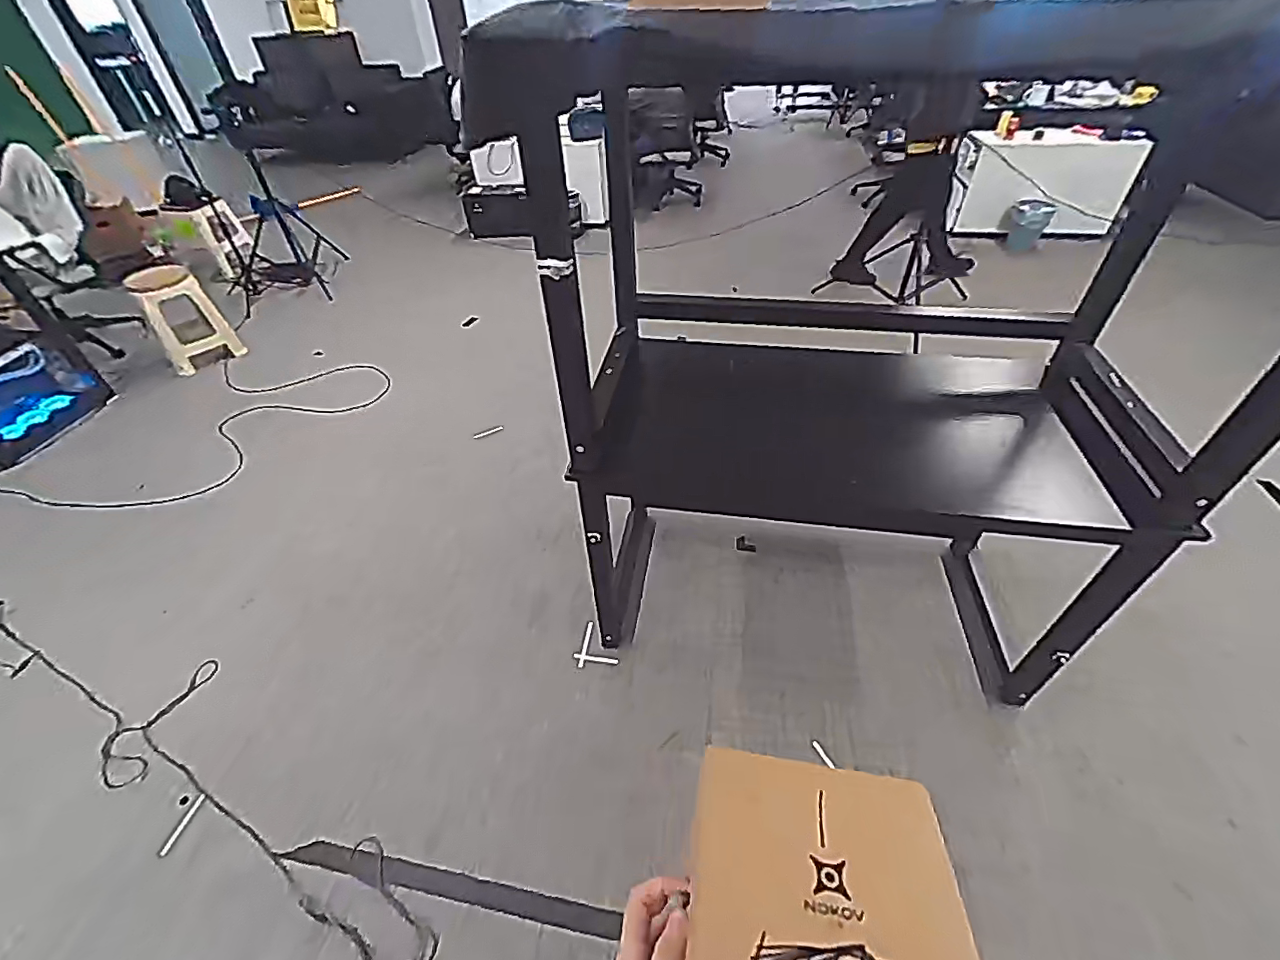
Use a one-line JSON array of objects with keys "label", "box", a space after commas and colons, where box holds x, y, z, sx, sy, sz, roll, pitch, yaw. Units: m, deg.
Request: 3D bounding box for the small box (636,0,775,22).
[{"label": "small box", "box": [0.085, -0.657, 0.640, 0.168, 0.176, 0.179, 6, 41, 8]}]

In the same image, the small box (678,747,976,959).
[{"label": "small box", "box": [0.113, 0.328, 0.375, 0.168, 0.176, 0.179, 7, 28, 7]}]
